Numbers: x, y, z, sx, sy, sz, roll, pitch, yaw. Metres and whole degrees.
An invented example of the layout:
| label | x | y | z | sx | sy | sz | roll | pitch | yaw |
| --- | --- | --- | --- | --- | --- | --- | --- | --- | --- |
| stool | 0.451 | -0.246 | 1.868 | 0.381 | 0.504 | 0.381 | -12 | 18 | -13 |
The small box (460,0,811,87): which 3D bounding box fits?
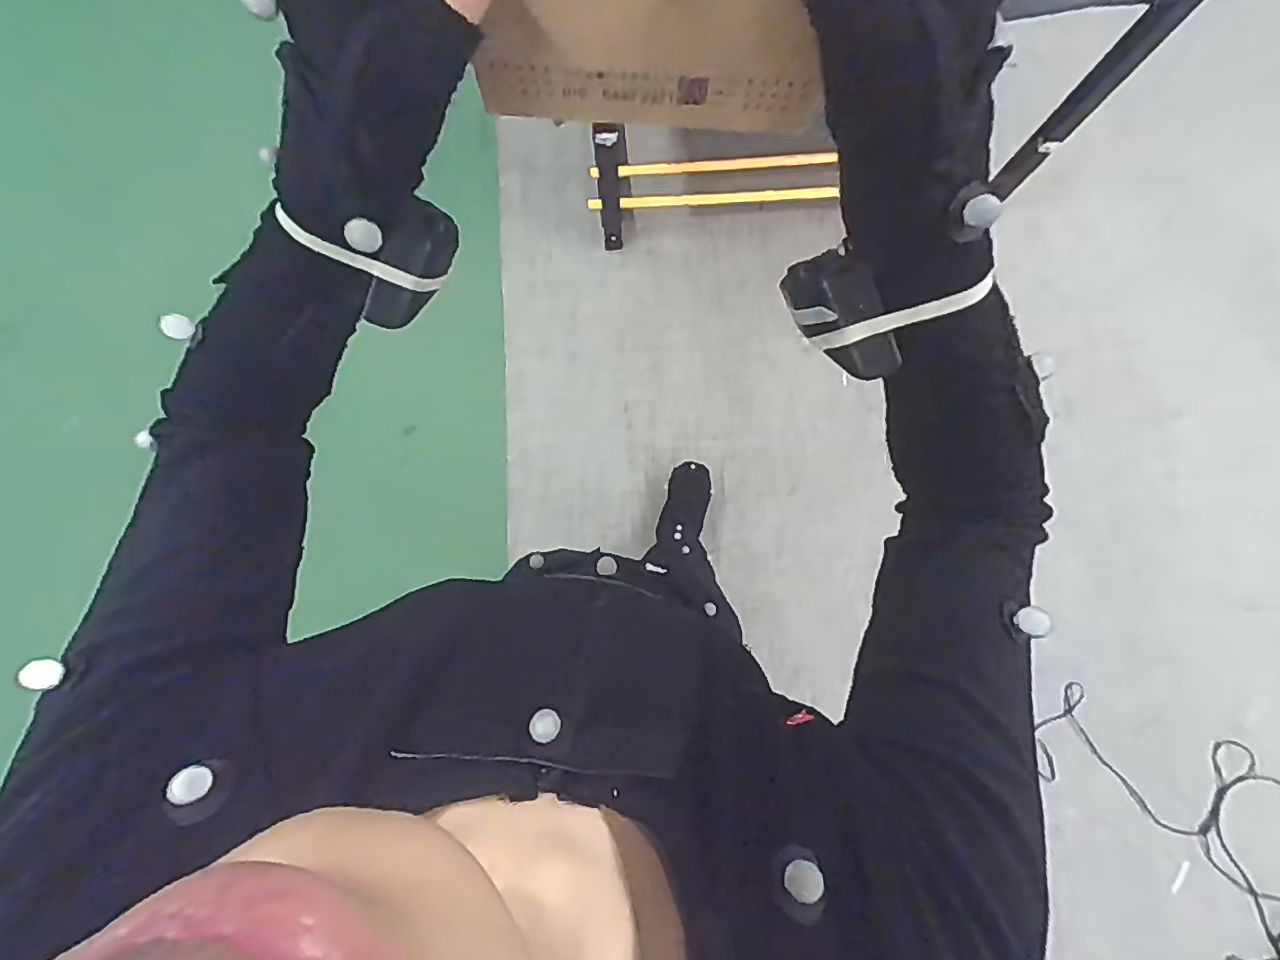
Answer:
| label | x | y | z | sx | sy | sz | roll | pitch | yaw |
| --- | --- | --- | --- | --- | --- | --- | --- | --- | --- |
| small box | 0.001 | -0.301 | 0.216 | 0.168 | 0.176 | 0.179 | 4 | 76 | -1 |
